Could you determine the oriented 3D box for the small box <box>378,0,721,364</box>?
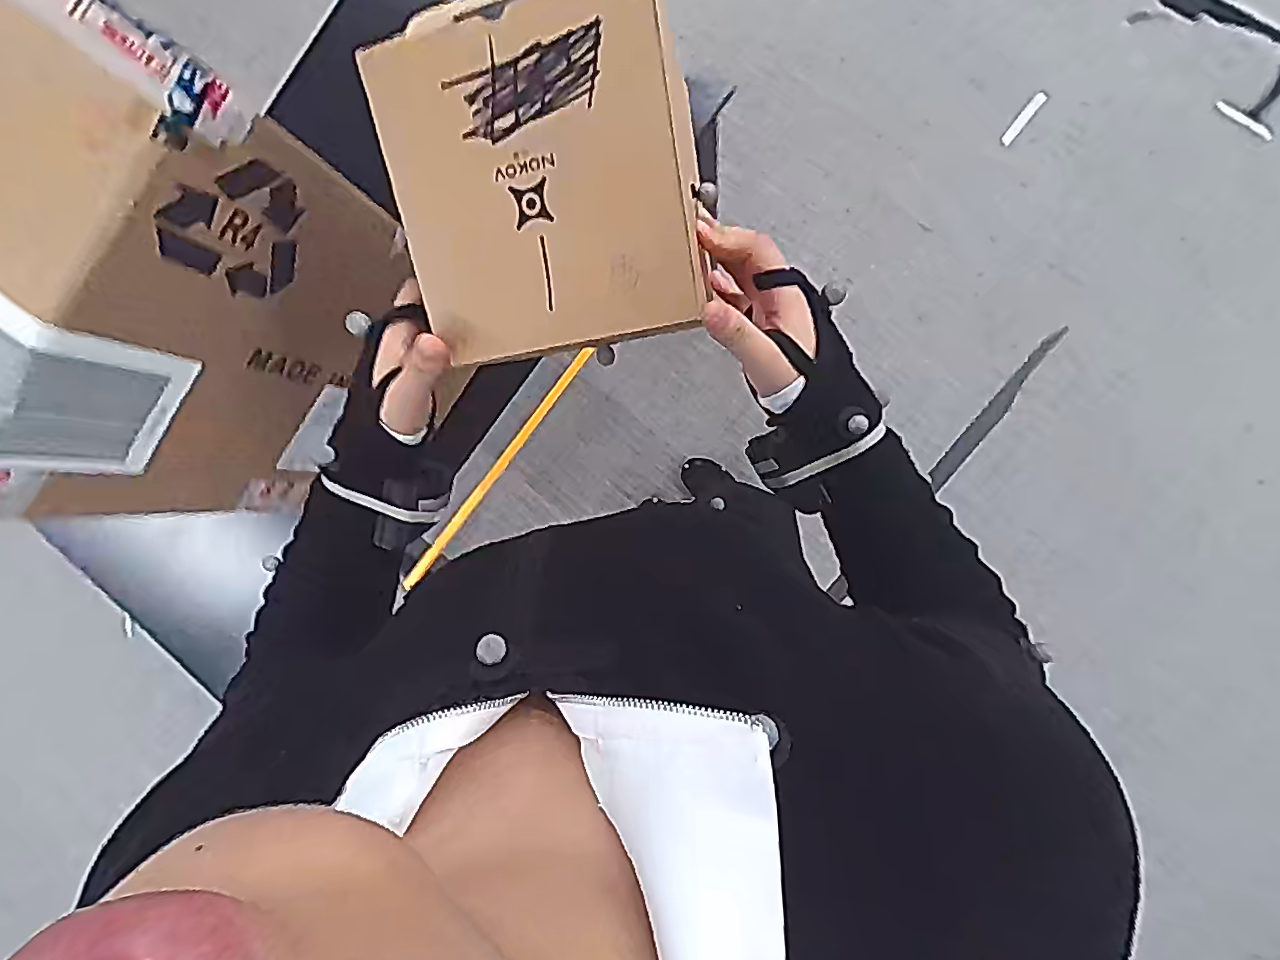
[{"bbox_3d":[-0.039,-0.183,0.376,0.168,0.176,0.179,-7,104,14],"label":"small box"}]
